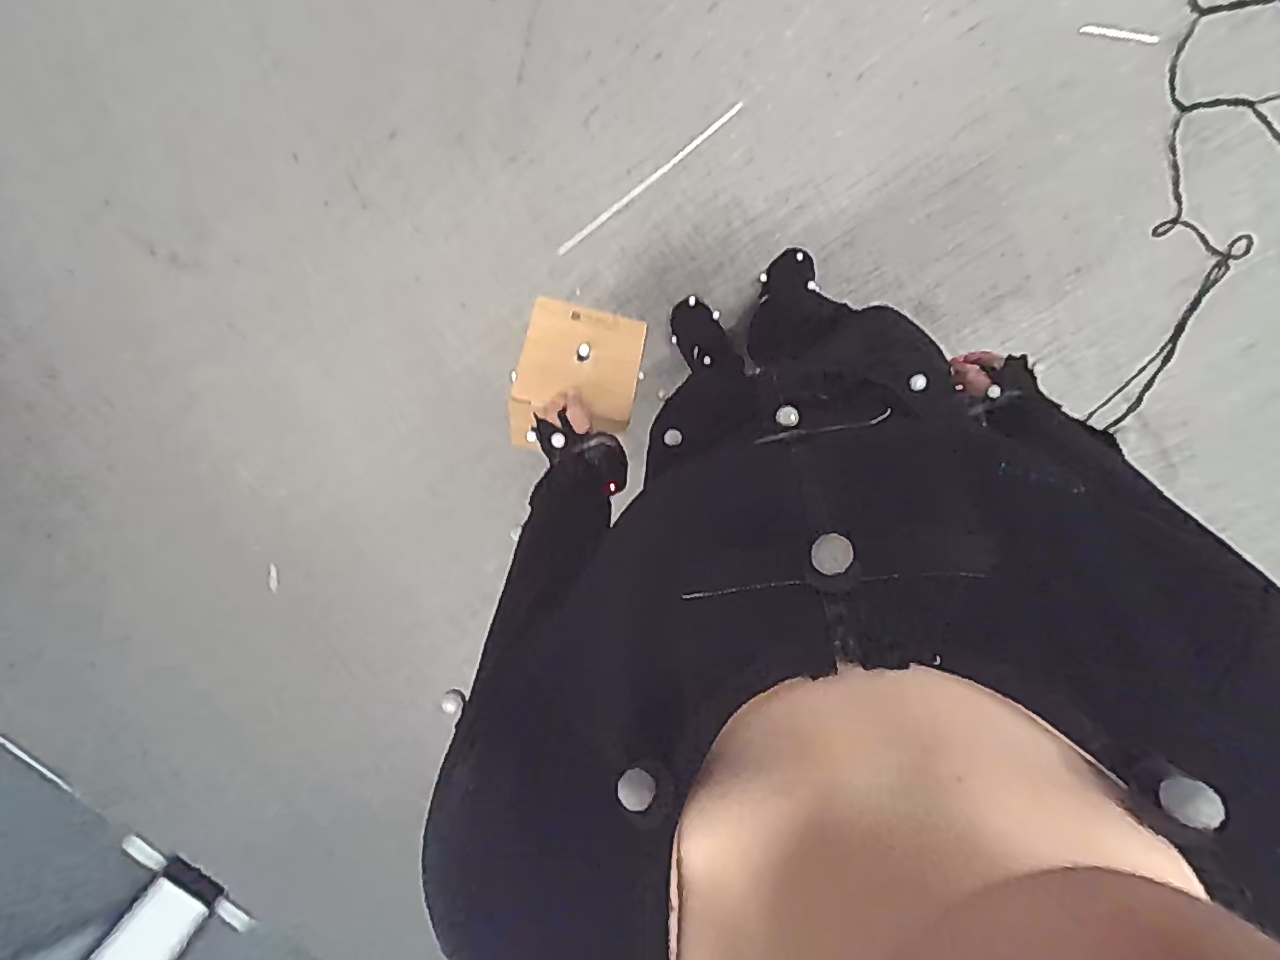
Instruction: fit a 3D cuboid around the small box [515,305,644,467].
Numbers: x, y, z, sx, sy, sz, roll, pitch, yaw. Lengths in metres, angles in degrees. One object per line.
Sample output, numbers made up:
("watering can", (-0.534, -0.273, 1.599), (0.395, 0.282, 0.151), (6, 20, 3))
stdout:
("small box", (-0.094, -0.140, 0.832), (0.168, 0.179, 0.176), (12, 70, -8))
